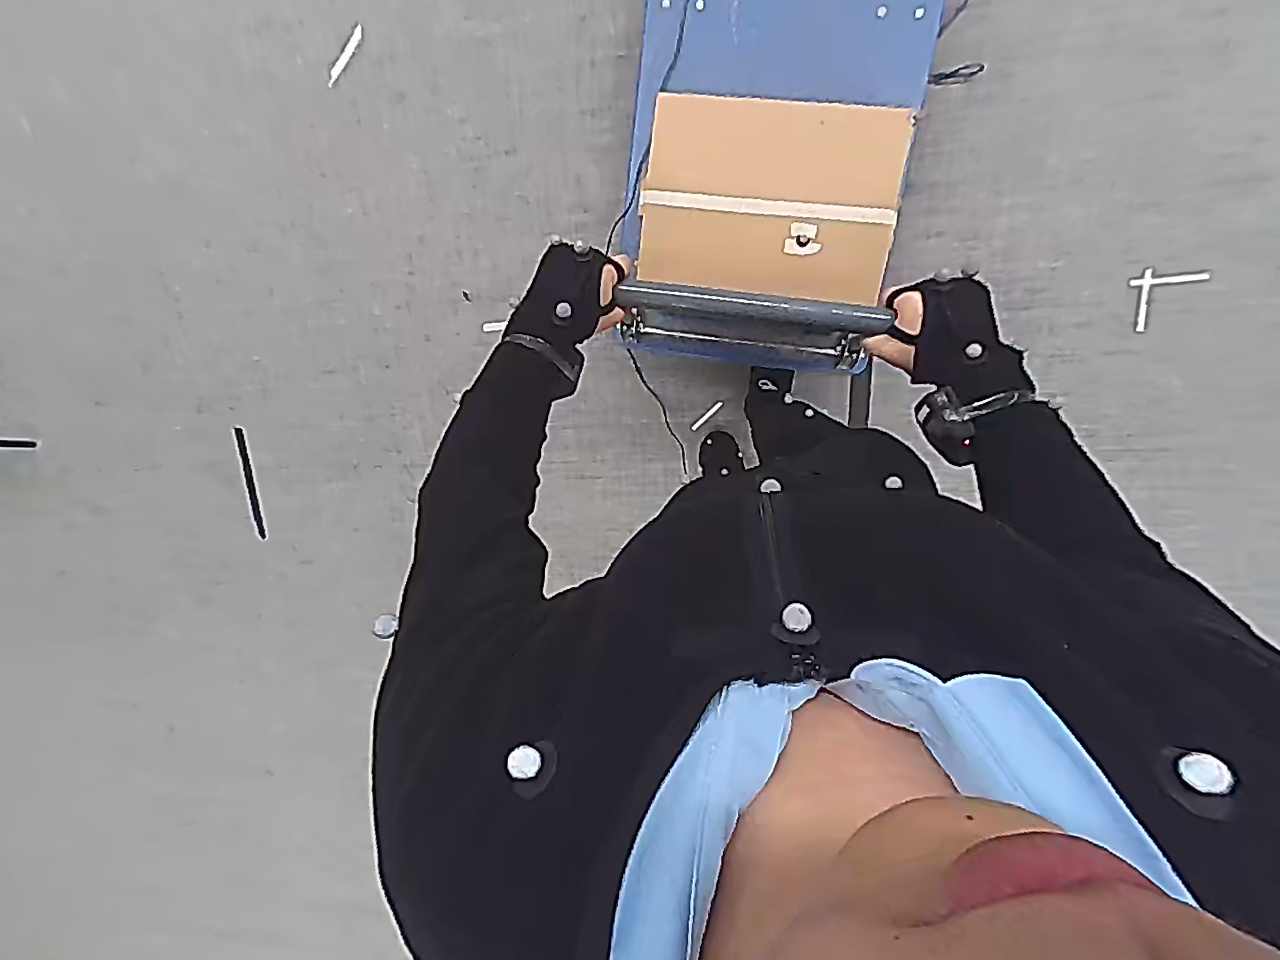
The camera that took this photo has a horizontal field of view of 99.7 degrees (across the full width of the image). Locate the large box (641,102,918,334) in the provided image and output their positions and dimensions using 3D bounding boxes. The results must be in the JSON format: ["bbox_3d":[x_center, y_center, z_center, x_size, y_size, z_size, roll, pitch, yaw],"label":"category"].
[{"bbox_3d":[0.230,-0.458,1.015,0.408,0.320,0.320,8,104,7],"label":"large box"}]
